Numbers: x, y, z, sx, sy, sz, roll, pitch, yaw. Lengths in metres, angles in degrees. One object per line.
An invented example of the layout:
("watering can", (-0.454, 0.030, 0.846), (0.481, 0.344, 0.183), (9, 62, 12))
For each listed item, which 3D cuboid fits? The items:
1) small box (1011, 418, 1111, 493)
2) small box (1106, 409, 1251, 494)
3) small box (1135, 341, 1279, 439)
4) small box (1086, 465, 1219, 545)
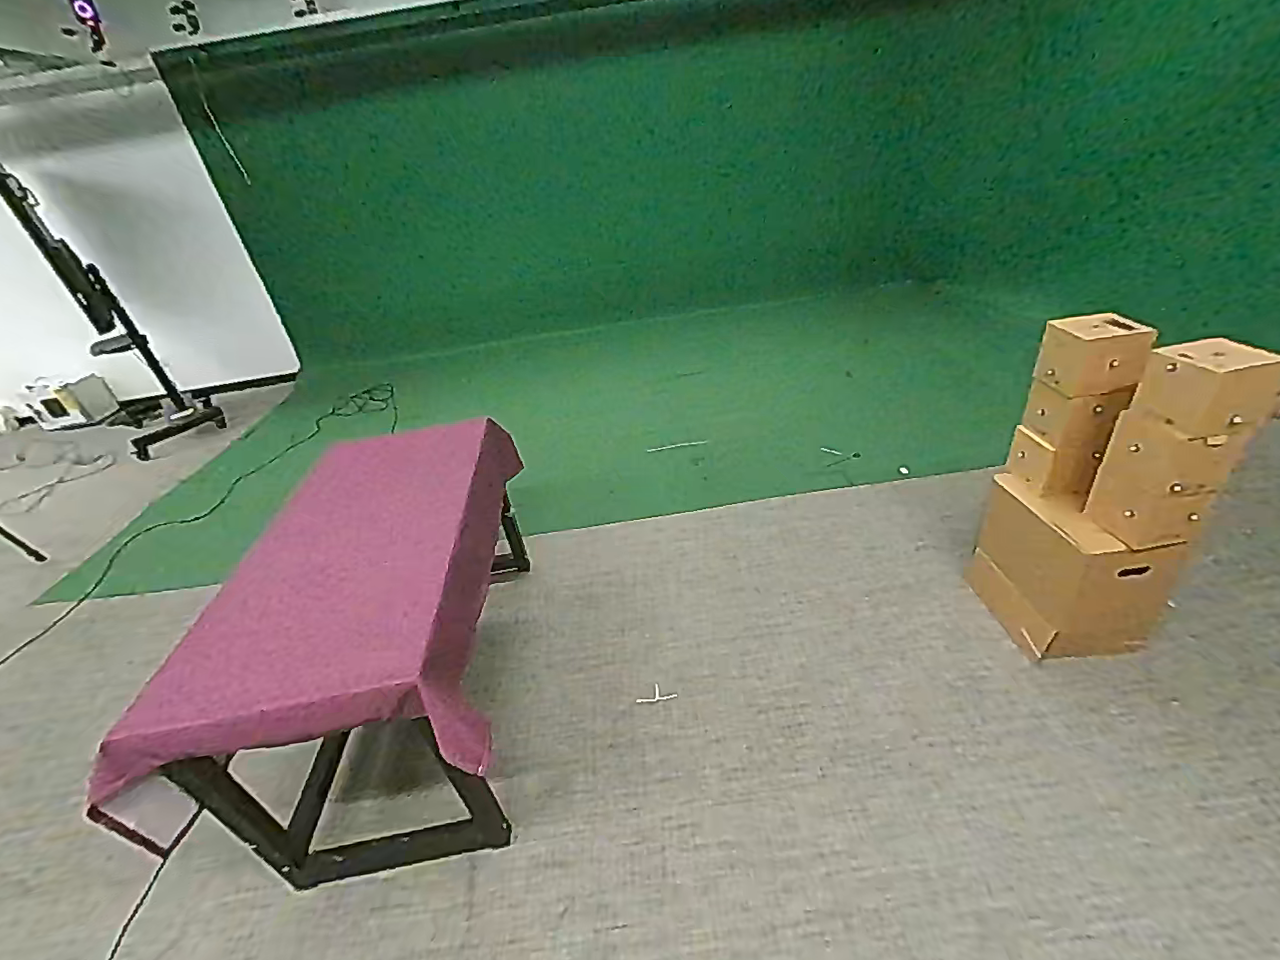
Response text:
("small box", (1.288, -0.073, 1.675), (0.179, 0.176, 0.168), (-7, 34, 1))
("small box", (1.342, -0.076, 1.364), (0.168, 0.176, 0.179), (-7, 31, 0))
("small box", (1.337, -0.212, 1.271), (0.179, 0.176, 0.168), (-8, 31, -2))
("small box", (1.362, 0.061, 1.453), (0.168, 0.176, 0.179), (-8, 31, -1))
